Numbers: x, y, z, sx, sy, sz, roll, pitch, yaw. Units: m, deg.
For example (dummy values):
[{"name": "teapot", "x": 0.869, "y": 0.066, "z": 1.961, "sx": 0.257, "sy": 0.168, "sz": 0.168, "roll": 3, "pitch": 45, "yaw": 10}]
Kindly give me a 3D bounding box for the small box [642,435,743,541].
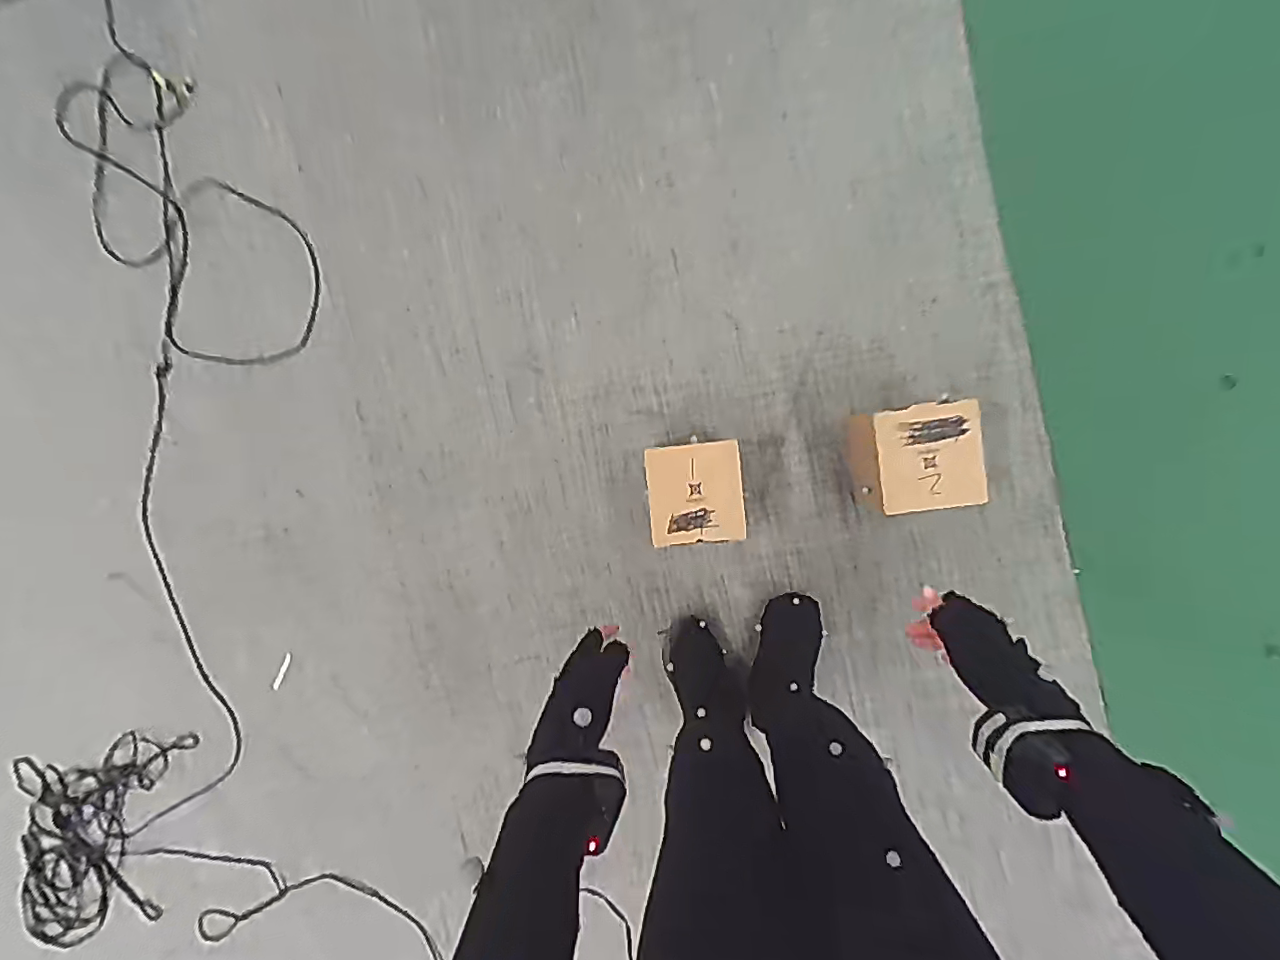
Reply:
[{"name": "small box", "x": 0.100, "y": 0.010, "z": 1.009, "sx": 0.168, "sy": 0.176, "sz": 0.179, "roll": -5, "pitch": 92, "yaw": 7}]
